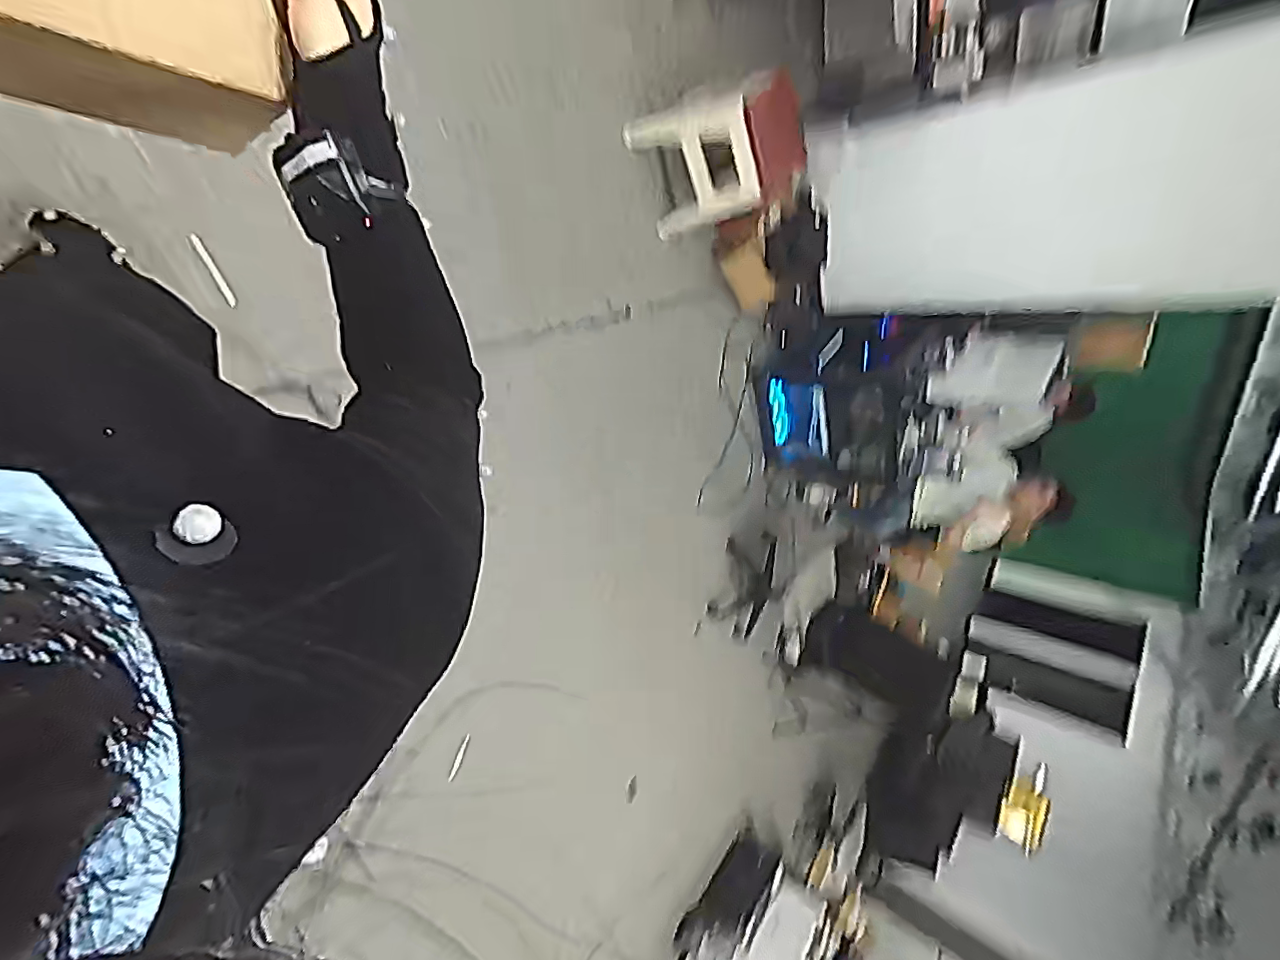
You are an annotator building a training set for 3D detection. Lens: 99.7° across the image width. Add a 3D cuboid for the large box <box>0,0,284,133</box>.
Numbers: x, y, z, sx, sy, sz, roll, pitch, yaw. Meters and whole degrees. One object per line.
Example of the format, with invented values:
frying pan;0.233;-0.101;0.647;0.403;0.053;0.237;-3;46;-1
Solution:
large box;-0.491;-0.457;0.333;0.408;0.320;0.320;-8;112;-40
